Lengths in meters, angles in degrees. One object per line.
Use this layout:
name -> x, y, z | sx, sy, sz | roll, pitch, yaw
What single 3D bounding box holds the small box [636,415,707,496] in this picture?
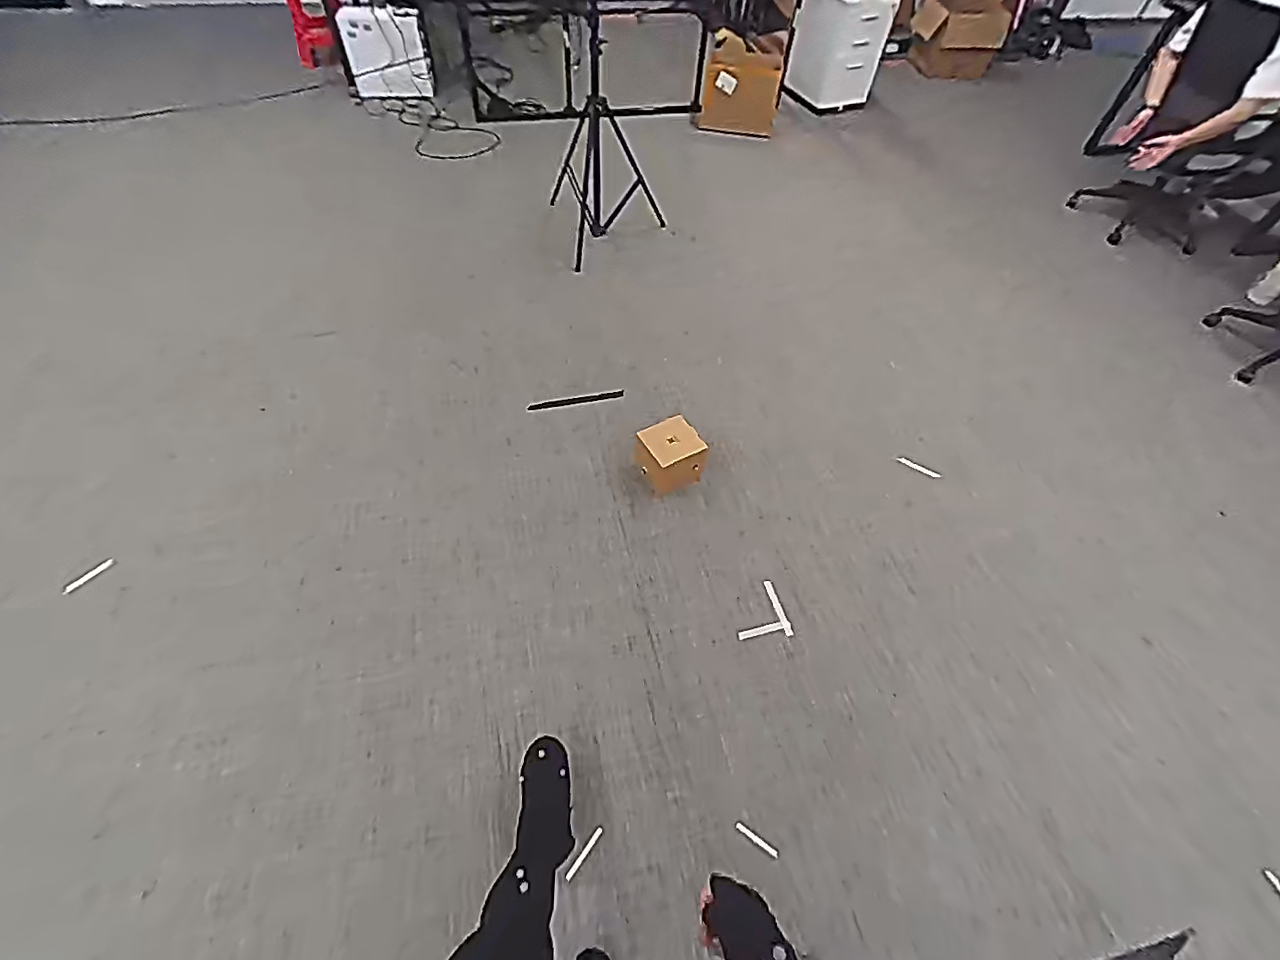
small box -> 0.097, -0.080, 1.796 | 0.179, 0.176, 0.168 | -26, 59, -19
